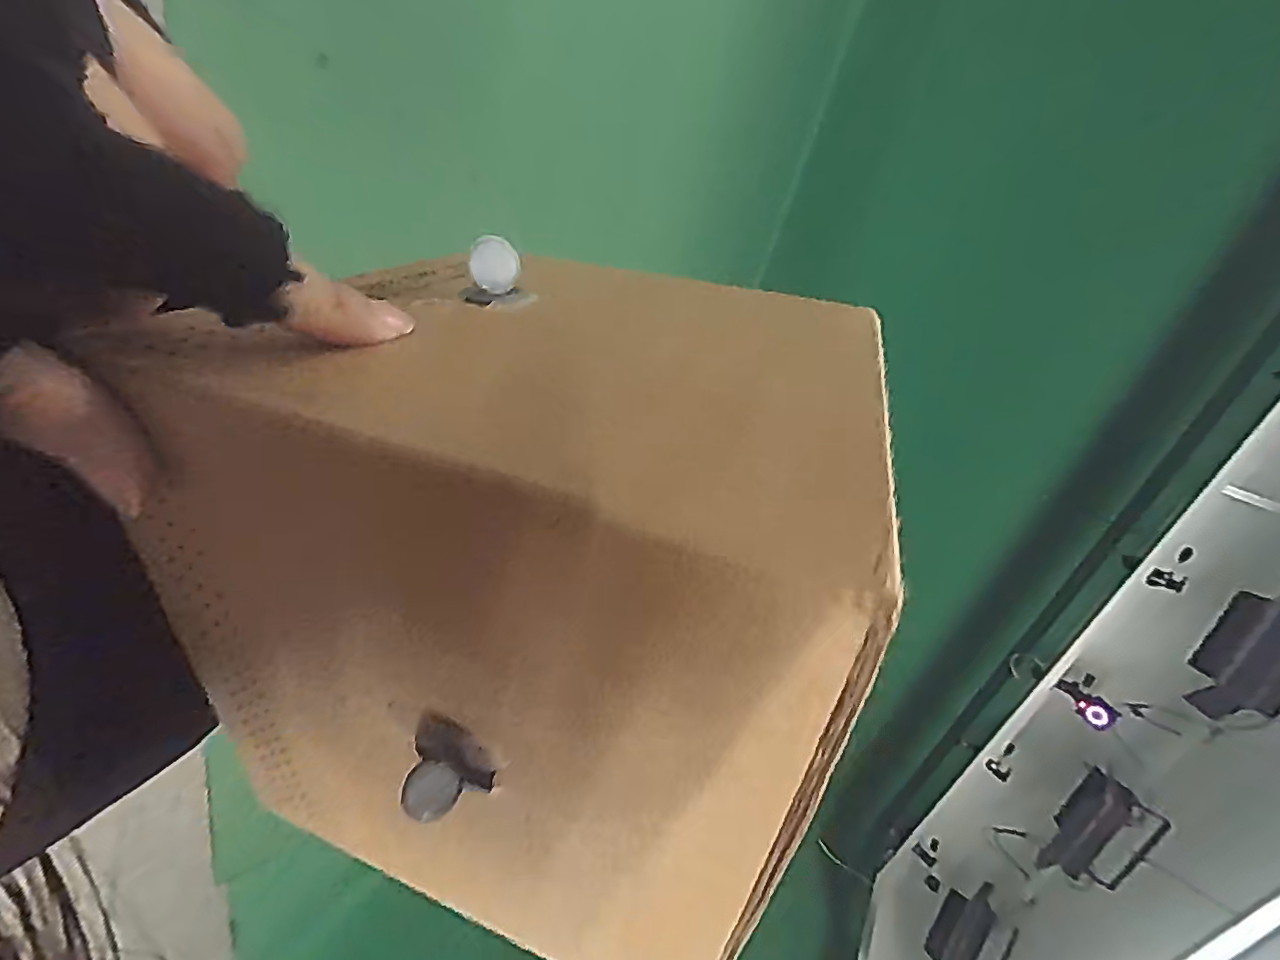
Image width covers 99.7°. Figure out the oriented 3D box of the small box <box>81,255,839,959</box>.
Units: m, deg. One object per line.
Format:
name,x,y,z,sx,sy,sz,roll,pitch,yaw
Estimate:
small box,-0.035,0.026,0.208,0.168,0.176,0.179,-55,155,-56
